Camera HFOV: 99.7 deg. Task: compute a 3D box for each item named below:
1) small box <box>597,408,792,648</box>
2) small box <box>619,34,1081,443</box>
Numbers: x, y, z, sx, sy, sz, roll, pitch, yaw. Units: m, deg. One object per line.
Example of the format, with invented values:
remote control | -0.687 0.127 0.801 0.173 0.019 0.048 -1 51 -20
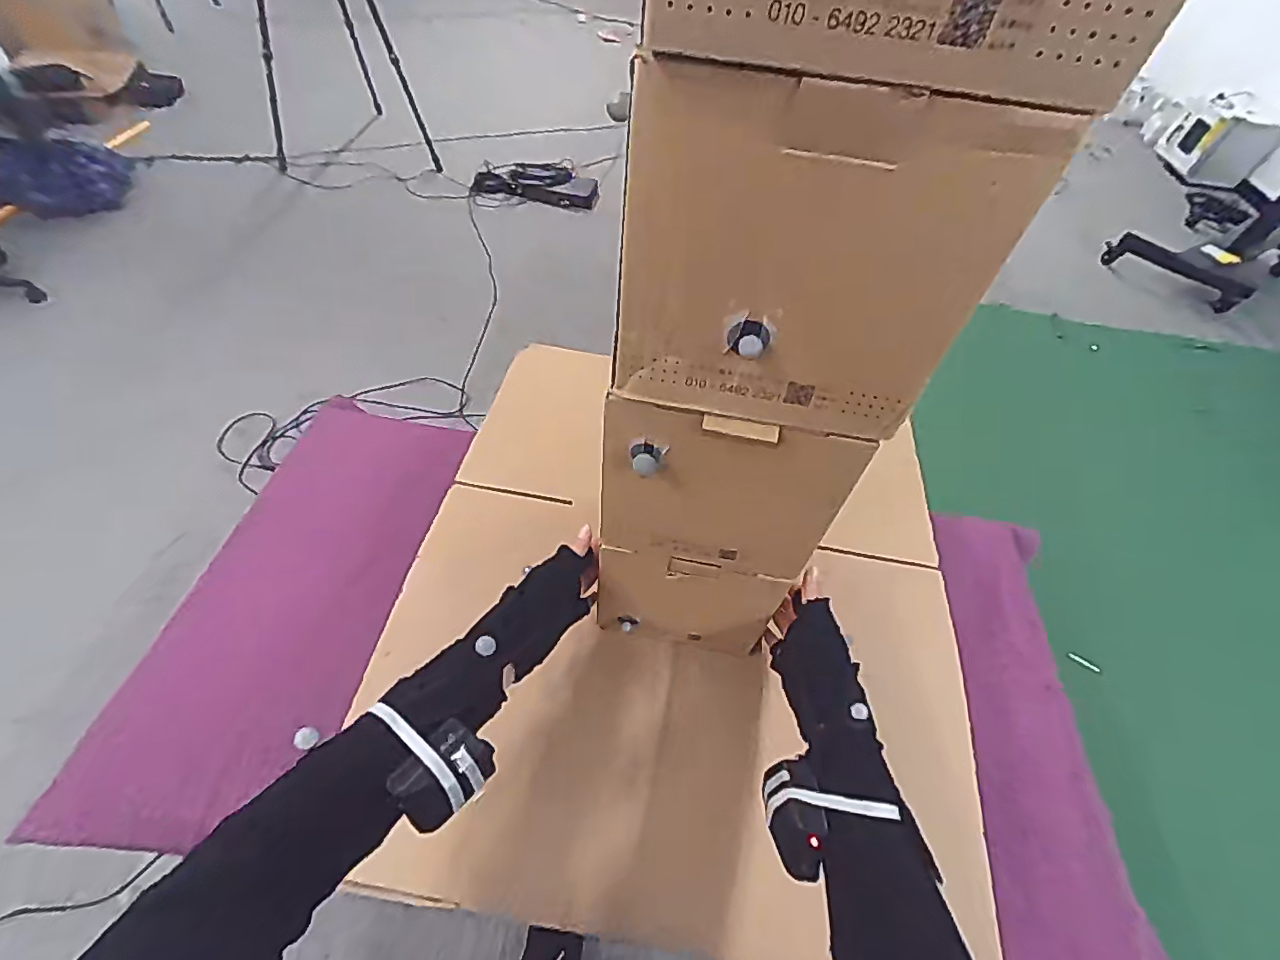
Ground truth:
small box | 0.054 0.055 0.564 0.168 0.176 0.179 10 51 3
small box | 0.083 -0.149 0.309 0.168 0.176 0.179 9 52 1
